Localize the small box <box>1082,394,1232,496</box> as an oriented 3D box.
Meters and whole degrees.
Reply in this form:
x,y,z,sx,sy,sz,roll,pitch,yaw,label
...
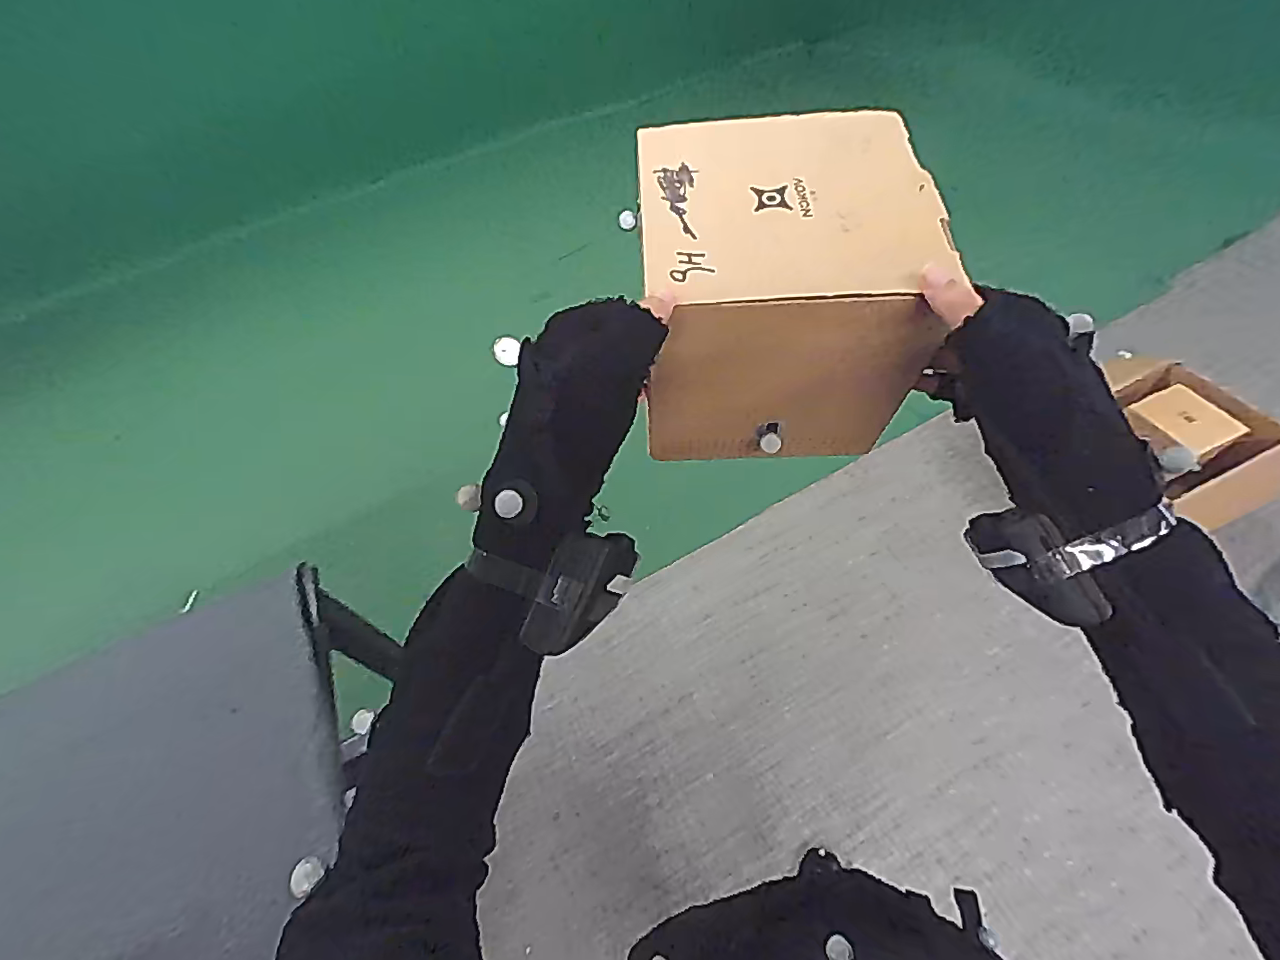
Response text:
x,y,z,sx,sy,sz,roll,pitch,yaw,label
1.297,-0.080,1.371,0.168,0.176,0.179,-22,55,-10,small box

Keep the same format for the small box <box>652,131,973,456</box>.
x,y,z,sx,sy,sz,roll,pitch,yaw,label
0.099,-0.128,0.407,0.179,0.176,0.168,-1,61,0,small box
